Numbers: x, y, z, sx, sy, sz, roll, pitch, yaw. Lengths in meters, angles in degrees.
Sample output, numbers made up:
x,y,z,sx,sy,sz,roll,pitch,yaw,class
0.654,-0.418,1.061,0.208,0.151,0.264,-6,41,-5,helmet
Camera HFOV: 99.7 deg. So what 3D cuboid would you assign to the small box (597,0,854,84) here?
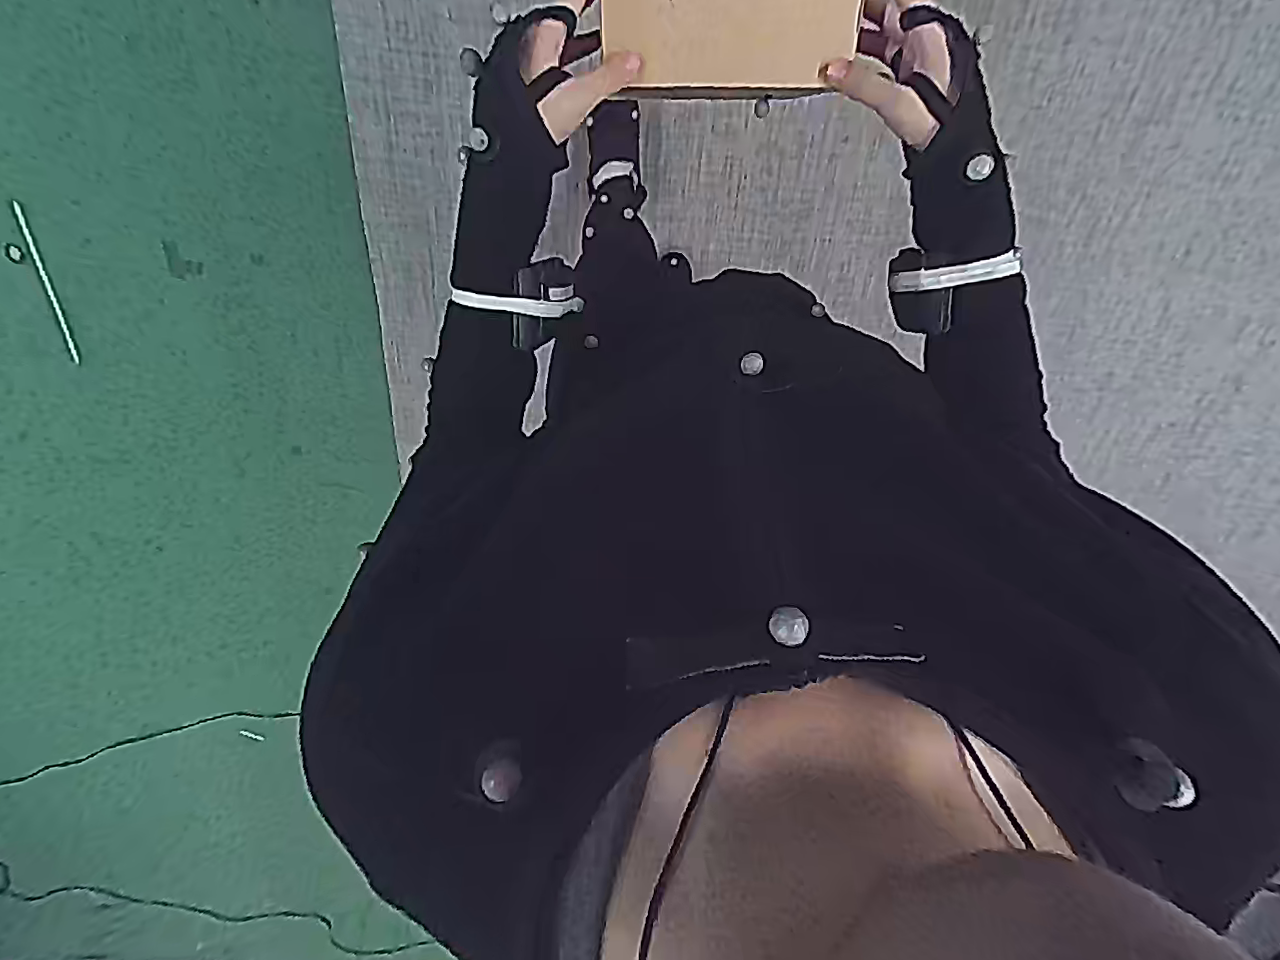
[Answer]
x,y,z,sx,sy,sz,roll,pitch,yaw,class
0.055,-0.406,0.402,0.179,0.176,0.168,-1,122,-1,small box
